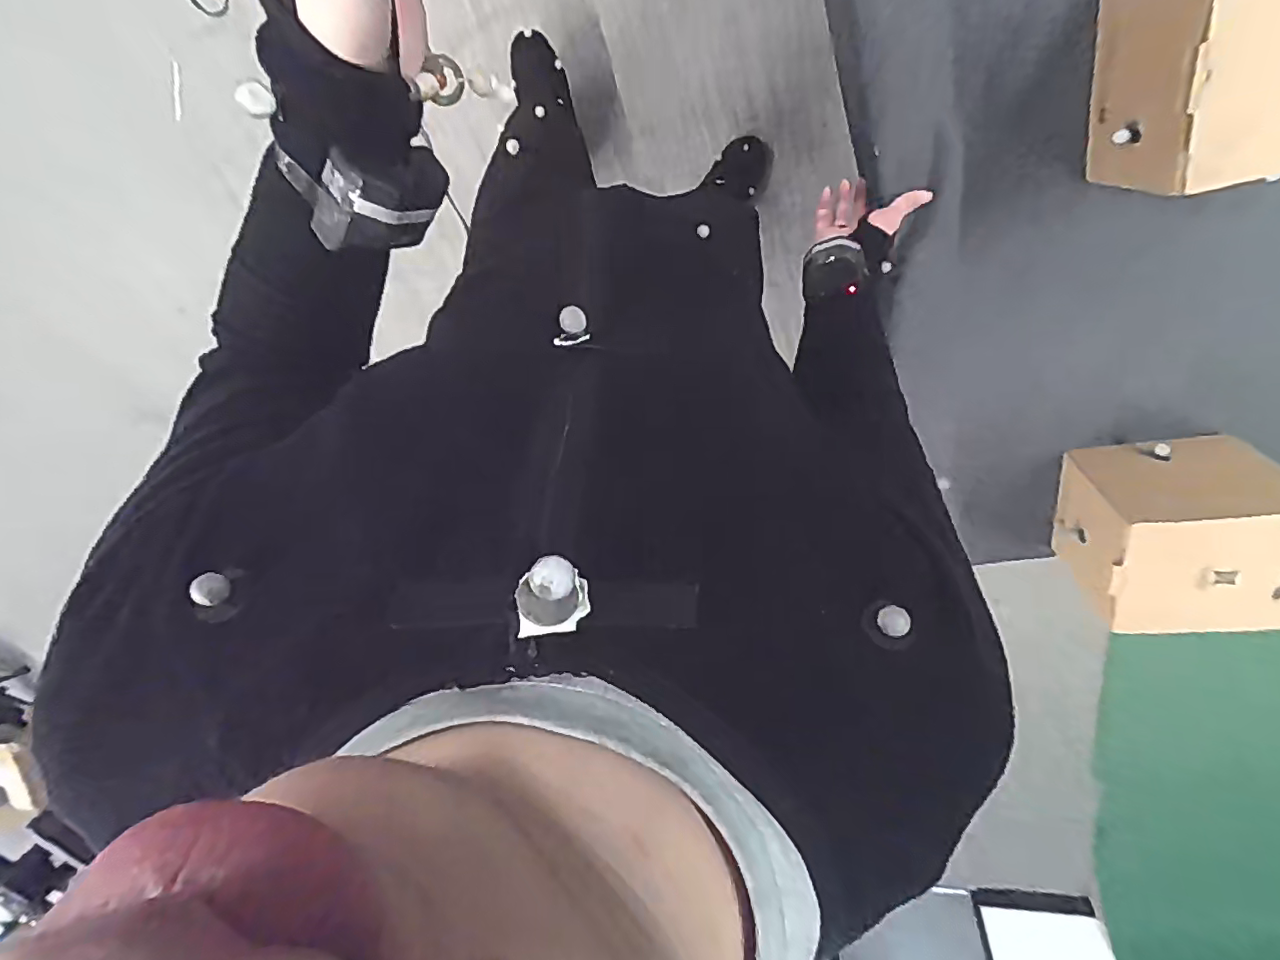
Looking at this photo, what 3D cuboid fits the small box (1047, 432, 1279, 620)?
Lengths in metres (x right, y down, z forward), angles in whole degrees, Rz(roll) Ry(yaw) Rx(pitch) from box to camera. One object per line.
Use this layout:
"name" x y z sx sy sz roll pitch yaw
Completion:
"small box" 0.645 0.055 0.677 0.179 0.176 0.168 -7 120 19
